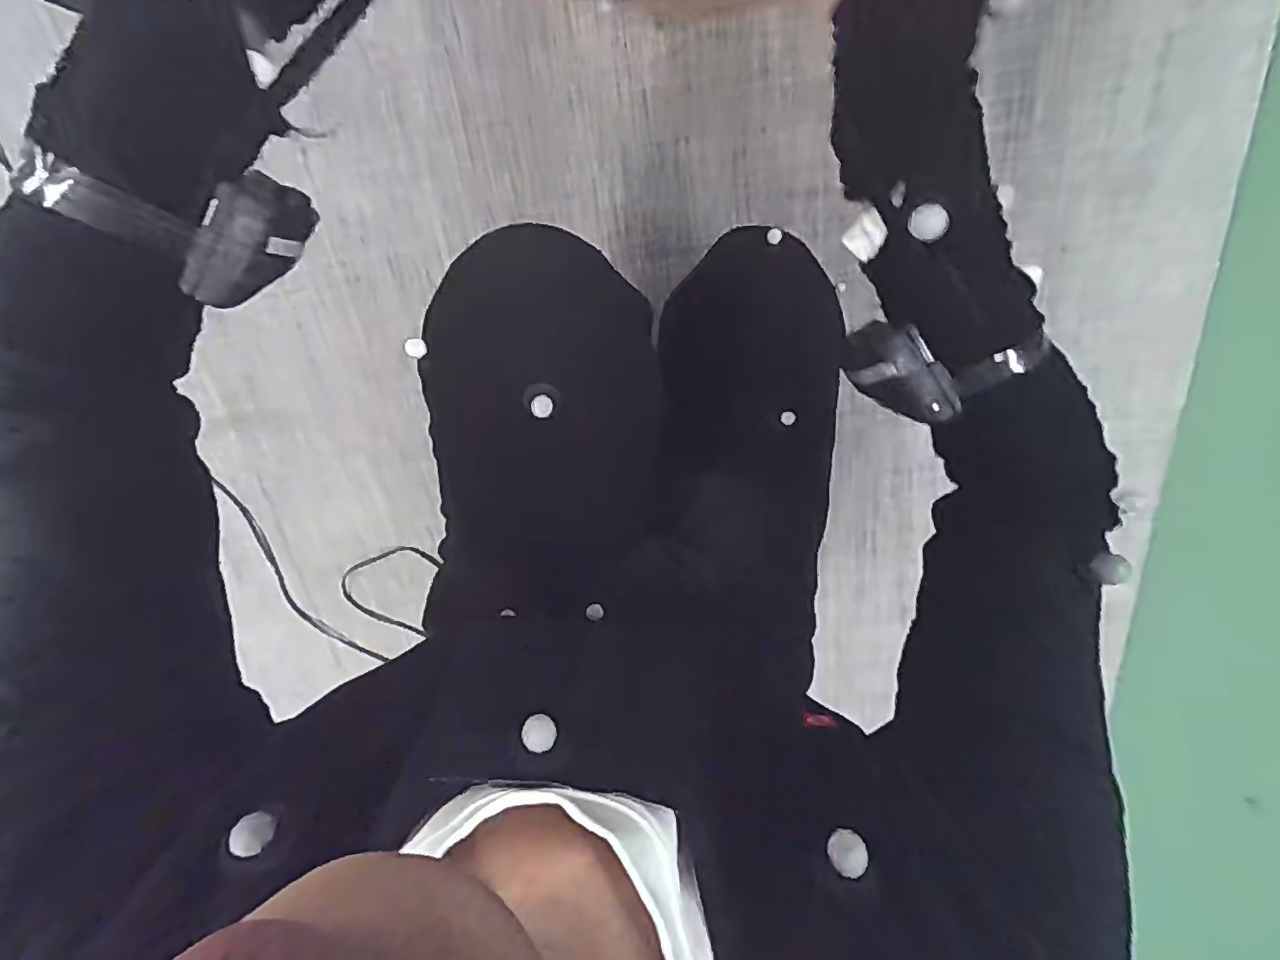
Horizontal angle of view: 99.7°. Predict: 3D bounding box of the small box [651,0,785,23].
[{"bbox_3d":[0.079,-0.559,0.491,0.168,0.176,0.179,-9,111,6],"label":"small box"}]
